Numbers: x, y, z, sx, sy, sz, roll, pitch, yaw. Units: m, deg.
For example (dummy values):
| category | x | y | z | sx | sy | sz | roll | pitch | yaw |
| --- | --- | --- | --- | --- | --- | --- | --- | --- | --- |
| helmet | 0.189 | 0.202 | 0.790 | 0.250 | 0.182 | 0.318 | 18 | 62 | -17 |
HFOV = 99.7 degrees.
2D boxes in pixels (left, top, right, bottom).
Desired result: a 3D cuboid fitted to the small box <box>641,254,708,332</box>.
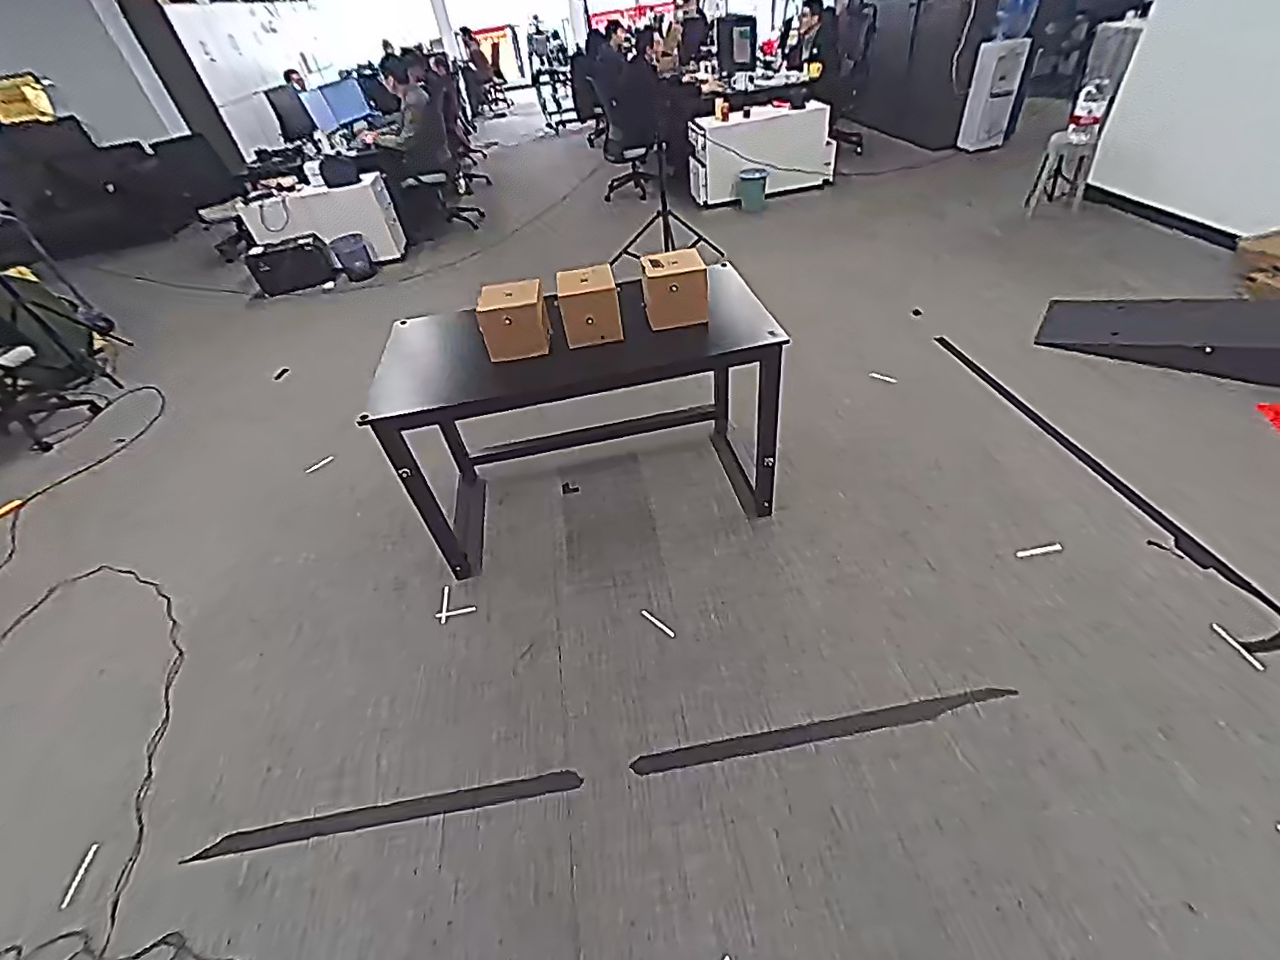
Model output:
| category | x | y | z | sx | sy | sz | roll | pitch | yaw |
| --- | --- | --- | --- | --- | --- | --- | --- | --- | --- |
| small box | 0.106 | -0.570 | 1.657 | 0.179 | 0.176 | 0.168 | -9 | 42 | -1 |

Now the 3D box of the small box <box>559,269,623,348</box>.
| category | x | y | z | sx | sy | sz | roll | pitch | yaw |
| --- | --- | --- | --- | --- | --- | --- | --- | --- | --- |
| small box | -0.148 | -0.514 | 1.640 | 0.168 | 0.176 | 0.179 | -10 | 42 | -2 |
